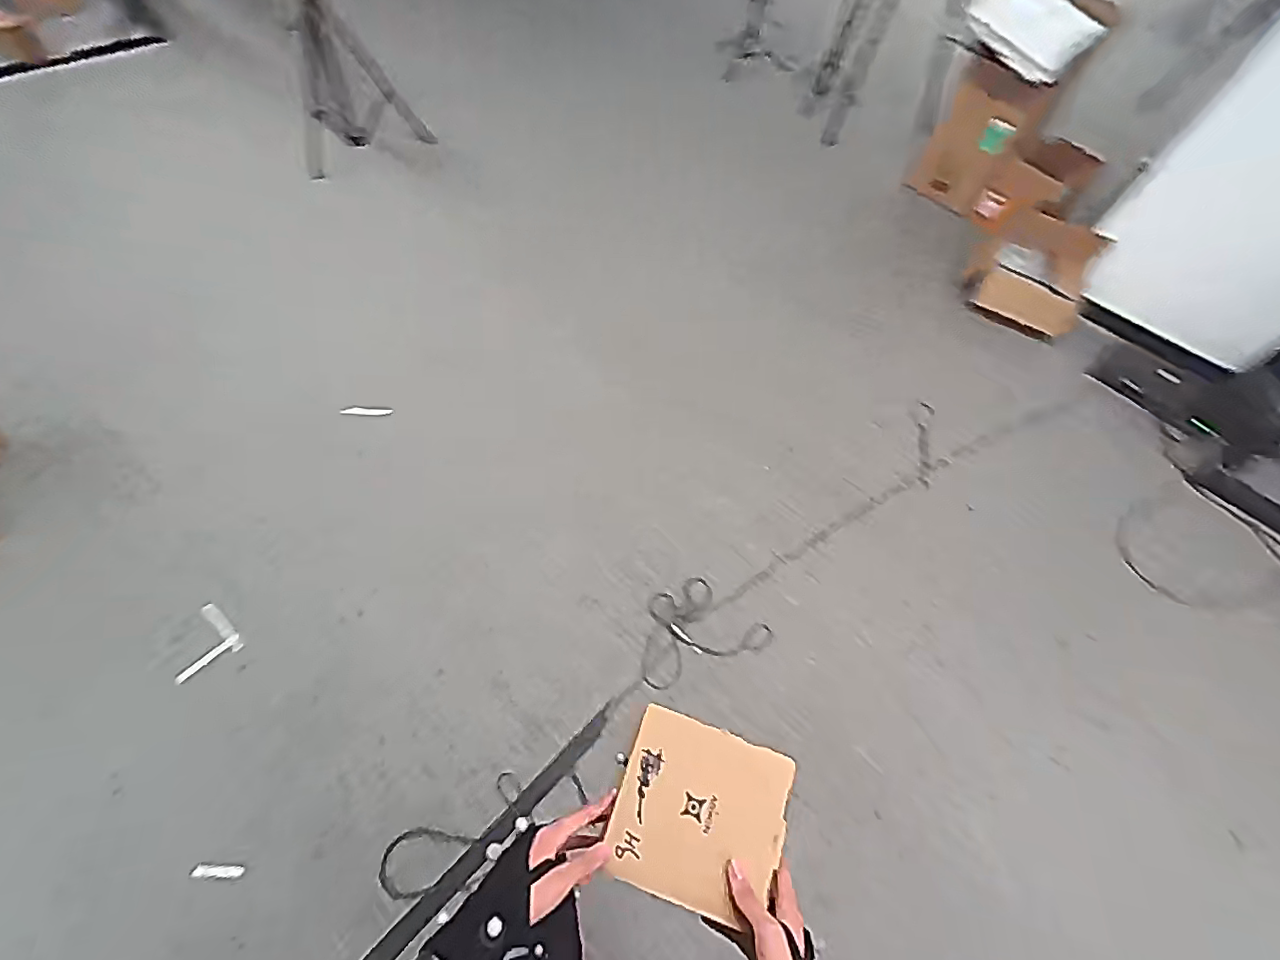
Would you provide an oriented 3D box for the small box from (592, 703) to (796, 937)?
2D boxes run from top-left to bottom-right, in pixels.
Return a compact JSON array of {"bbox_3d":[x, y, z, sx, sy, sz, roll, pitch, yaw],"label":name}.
[{"bbox_3d":[0.054,0.377,0.629,0.179,0.176,0.168,21,63,4],"label":"small box"}]
